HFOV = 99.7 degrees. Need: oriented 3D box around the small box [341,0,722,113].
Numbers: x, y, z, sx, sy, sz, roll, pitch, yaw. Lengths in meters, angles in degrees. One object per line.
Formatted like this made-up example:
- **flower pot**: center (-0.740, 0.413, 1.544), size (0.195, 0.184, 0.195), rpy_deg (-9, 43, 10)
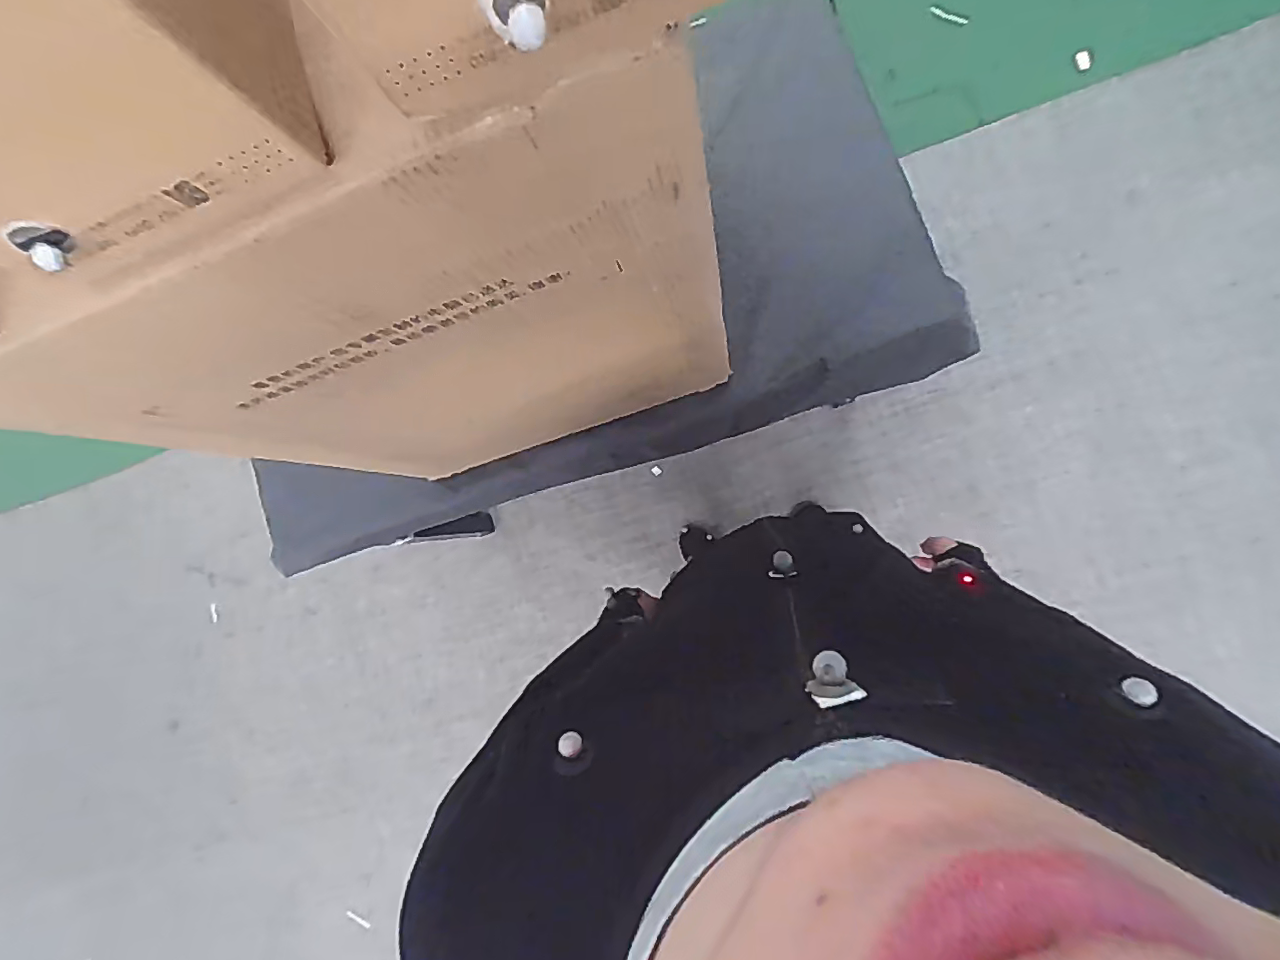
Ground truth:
- **small box**: center (-0.064, -0.277, 0.174), size (0.168, 0.176, 0.179), rpy_deg (-17, 85, 10)
